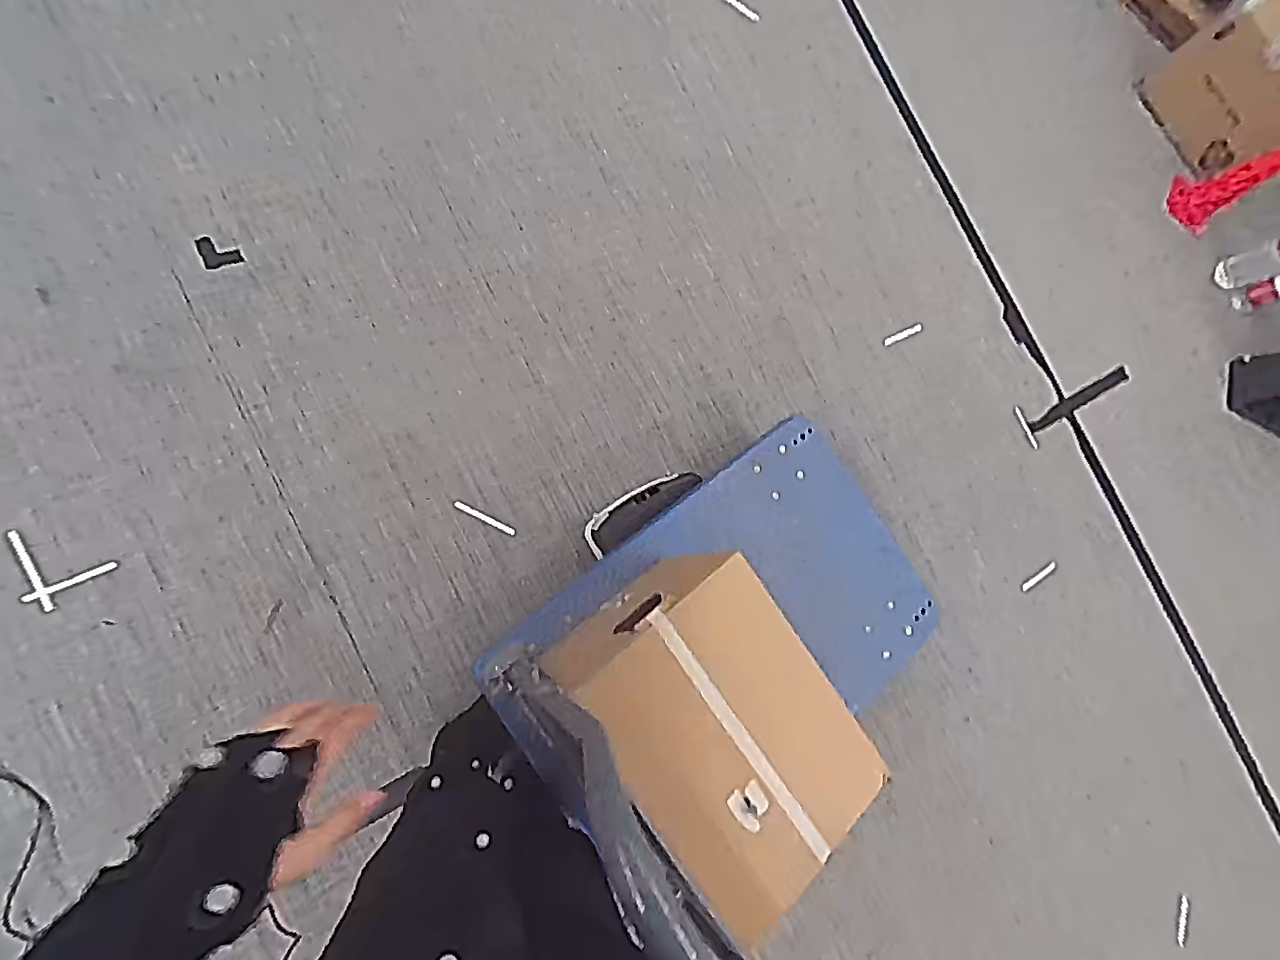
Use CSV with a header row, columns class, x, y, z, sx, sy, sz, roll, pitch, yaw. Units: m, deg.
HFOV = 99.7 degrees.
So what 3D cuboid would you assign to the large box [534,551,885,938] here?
class,x,y,z,sx,sy,sz,roll,pitch,yaw
large box,0.088,0.368,0.870,0.320,0.320,0.408,-36,93,-21
